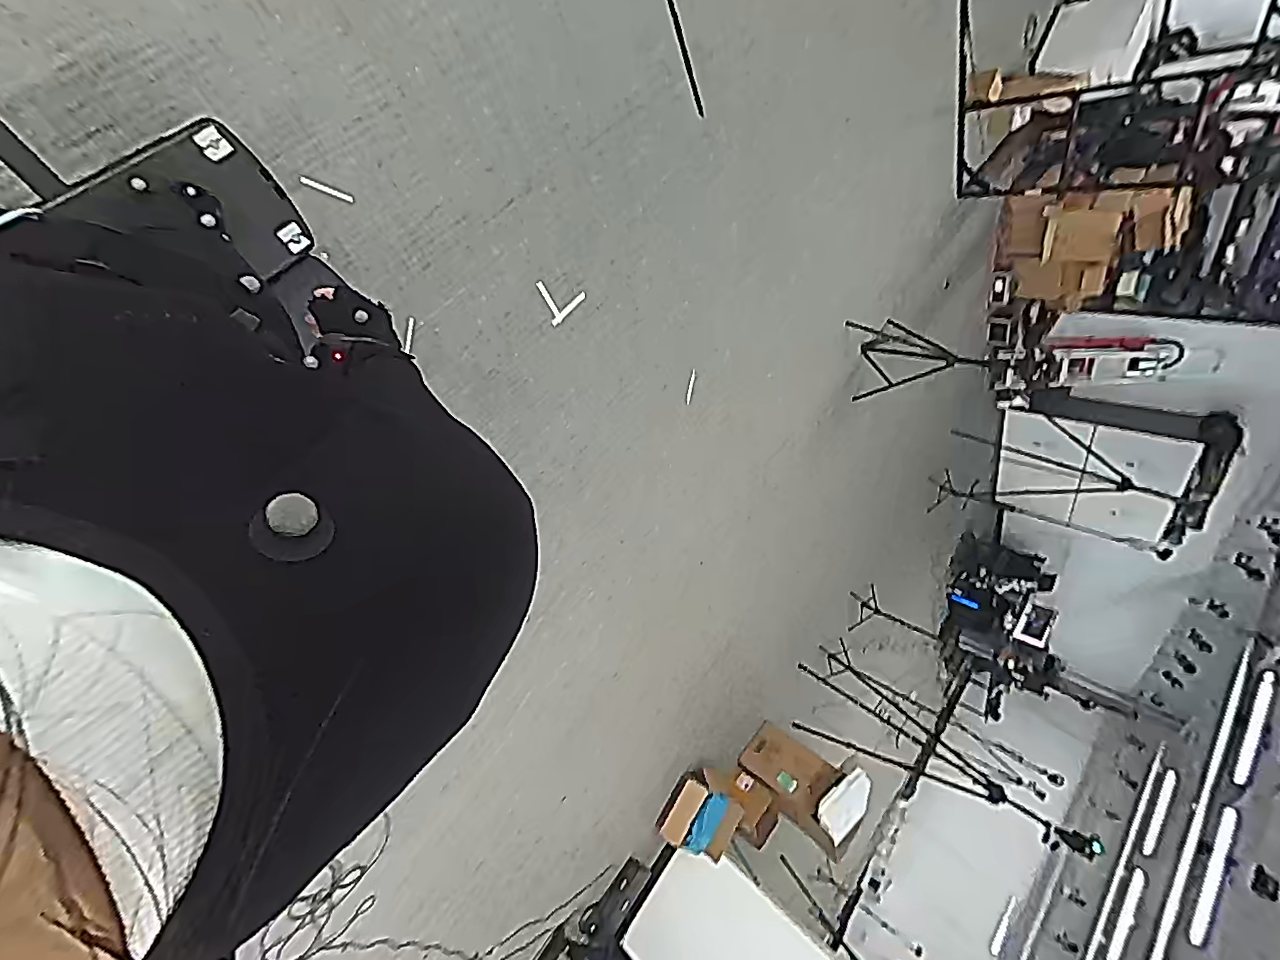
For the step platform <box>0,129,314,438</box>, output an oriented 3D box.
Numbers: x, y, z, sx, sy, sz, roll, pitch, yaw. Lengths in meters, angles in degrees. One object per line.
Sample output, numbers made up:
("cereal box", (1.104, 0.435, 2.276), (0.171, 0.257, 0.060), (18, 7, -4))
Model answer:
("step platform", (-1.030, -0.402, 1.084), (0.684, 0.204, 0.286), (-50, 136, -20))
